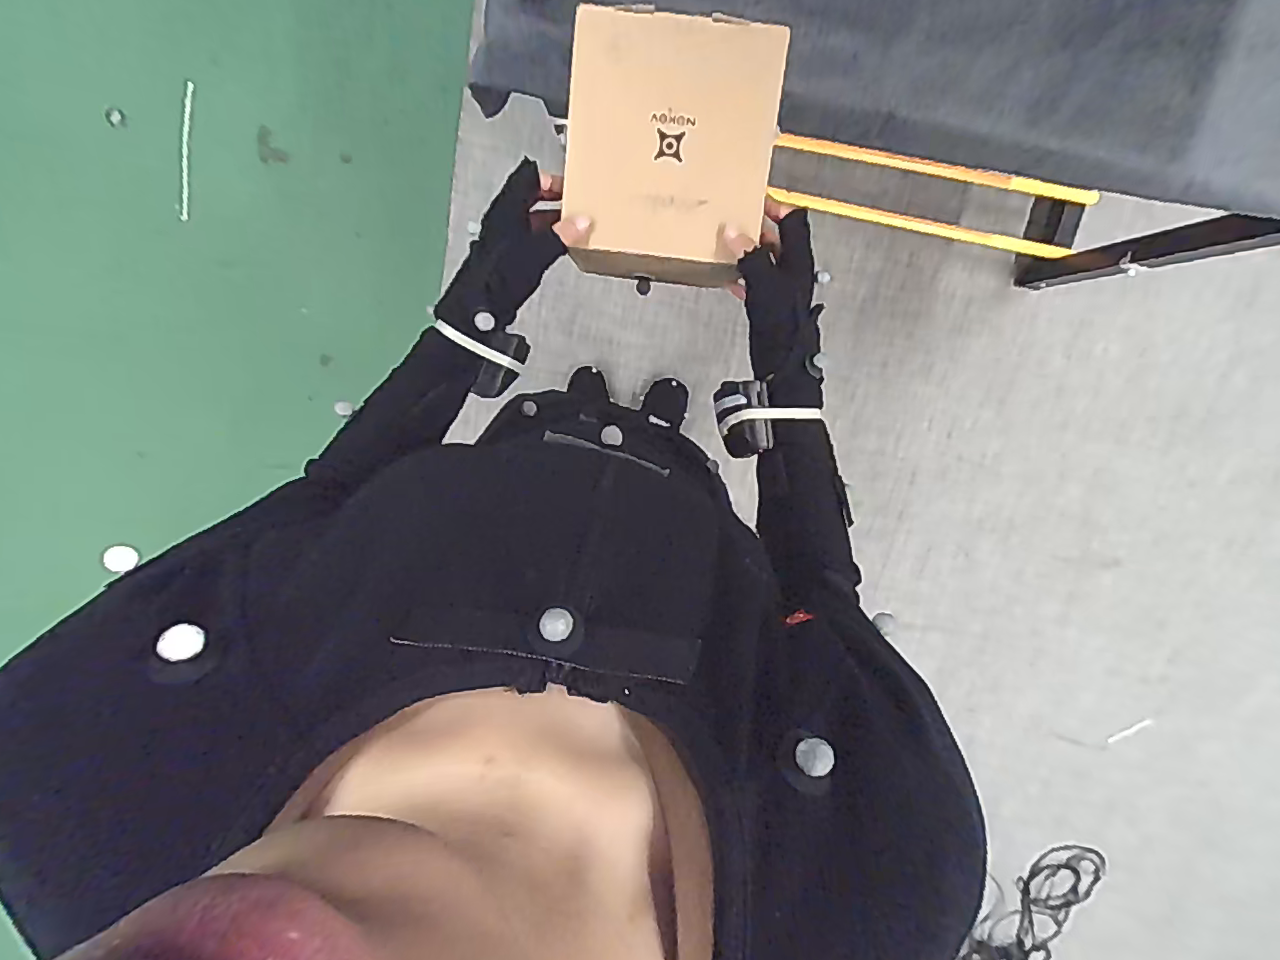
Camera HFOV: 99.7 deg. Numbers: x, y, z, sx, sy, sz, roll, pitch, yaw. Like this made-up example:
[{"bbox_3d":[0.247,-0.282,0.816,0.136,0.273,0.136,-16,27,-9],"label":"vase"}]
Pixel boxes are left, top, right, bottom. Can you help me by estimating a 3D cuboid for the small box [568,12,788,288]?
[{"bbox_3d":[0.029,-0.292,0.519,0.168,0.176,0.179,6,104,0],"label":"small box"}]
